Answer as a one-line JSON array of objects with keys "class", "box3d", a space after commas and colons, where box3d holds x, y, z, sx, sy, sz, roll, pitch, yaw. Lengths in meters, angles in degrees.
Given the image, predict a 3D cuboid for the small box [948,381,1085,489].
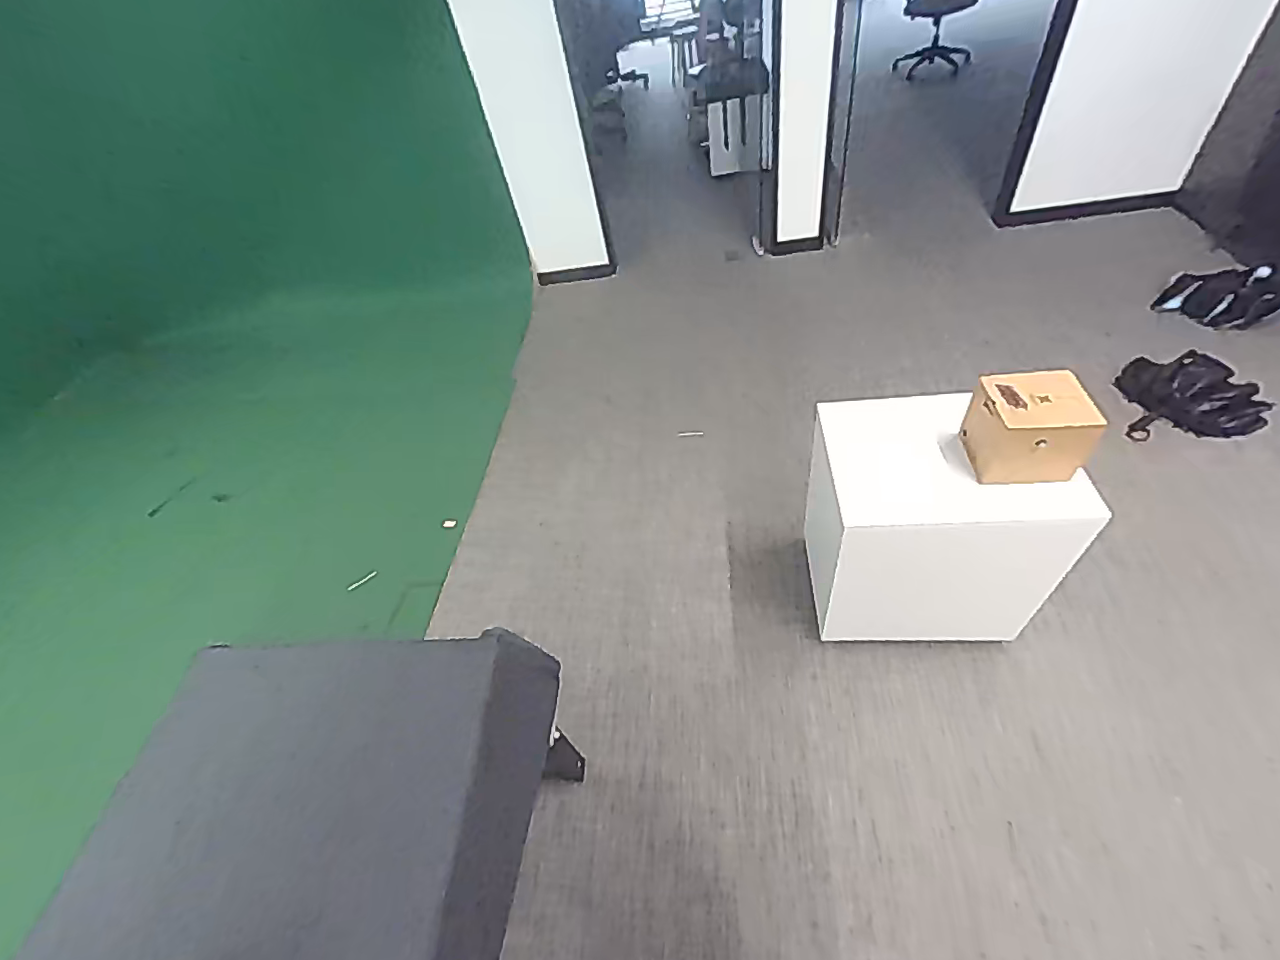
[{"class": "small box", "box3d": [0.787, -0.093, 1.160, 0.179, 0.176, 0.168, -1, 48, 7]}]
